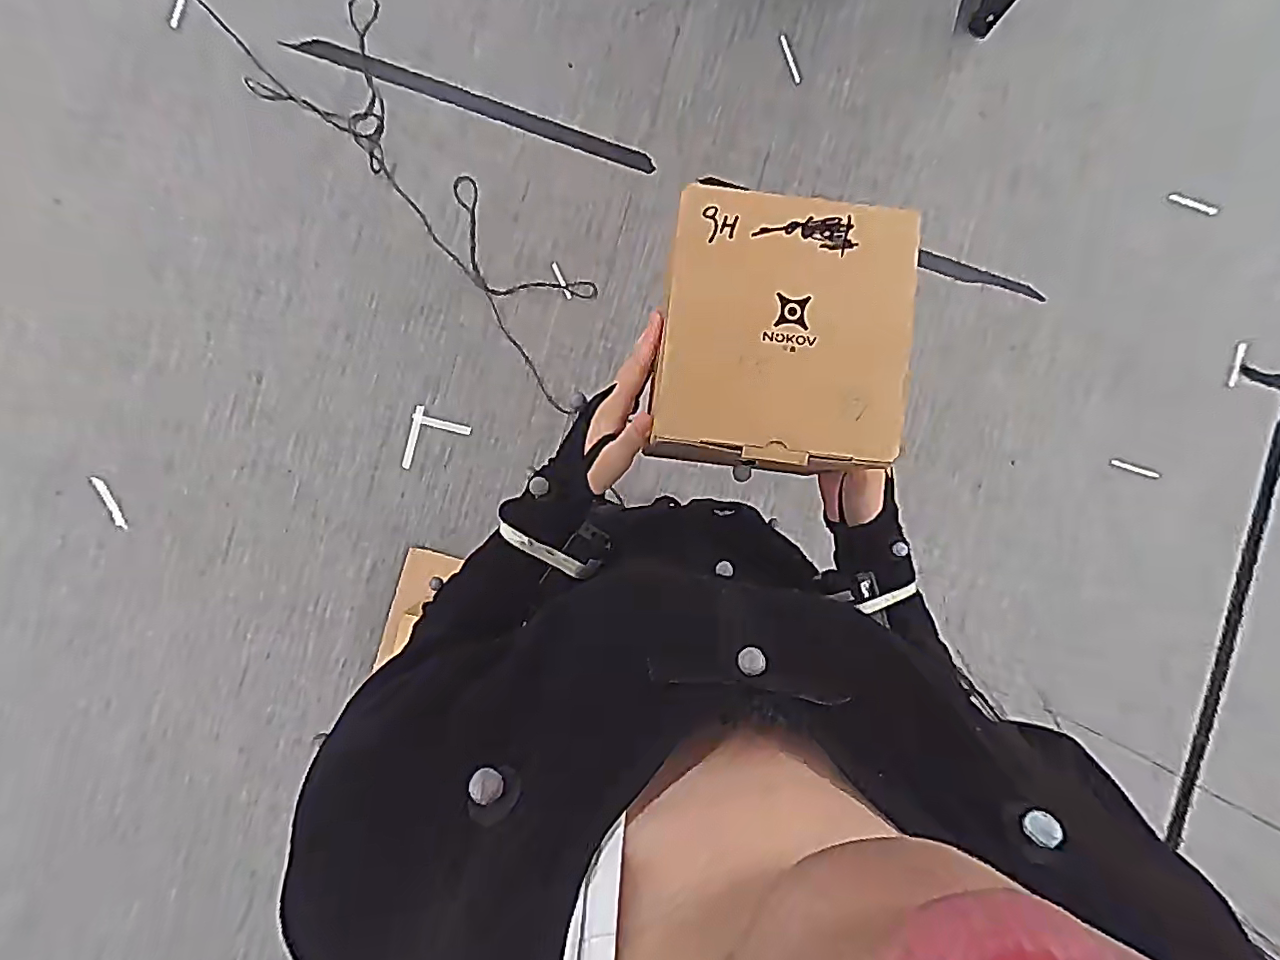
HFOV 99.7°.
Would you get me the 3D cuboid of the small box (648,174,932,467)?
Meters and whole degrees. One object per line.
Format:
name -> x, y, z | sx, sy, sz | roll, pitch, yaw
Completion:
small box -> 0.099, -0.104, 0.433 | 0.168, 0.176, 0.179 | 6, 90, -3
